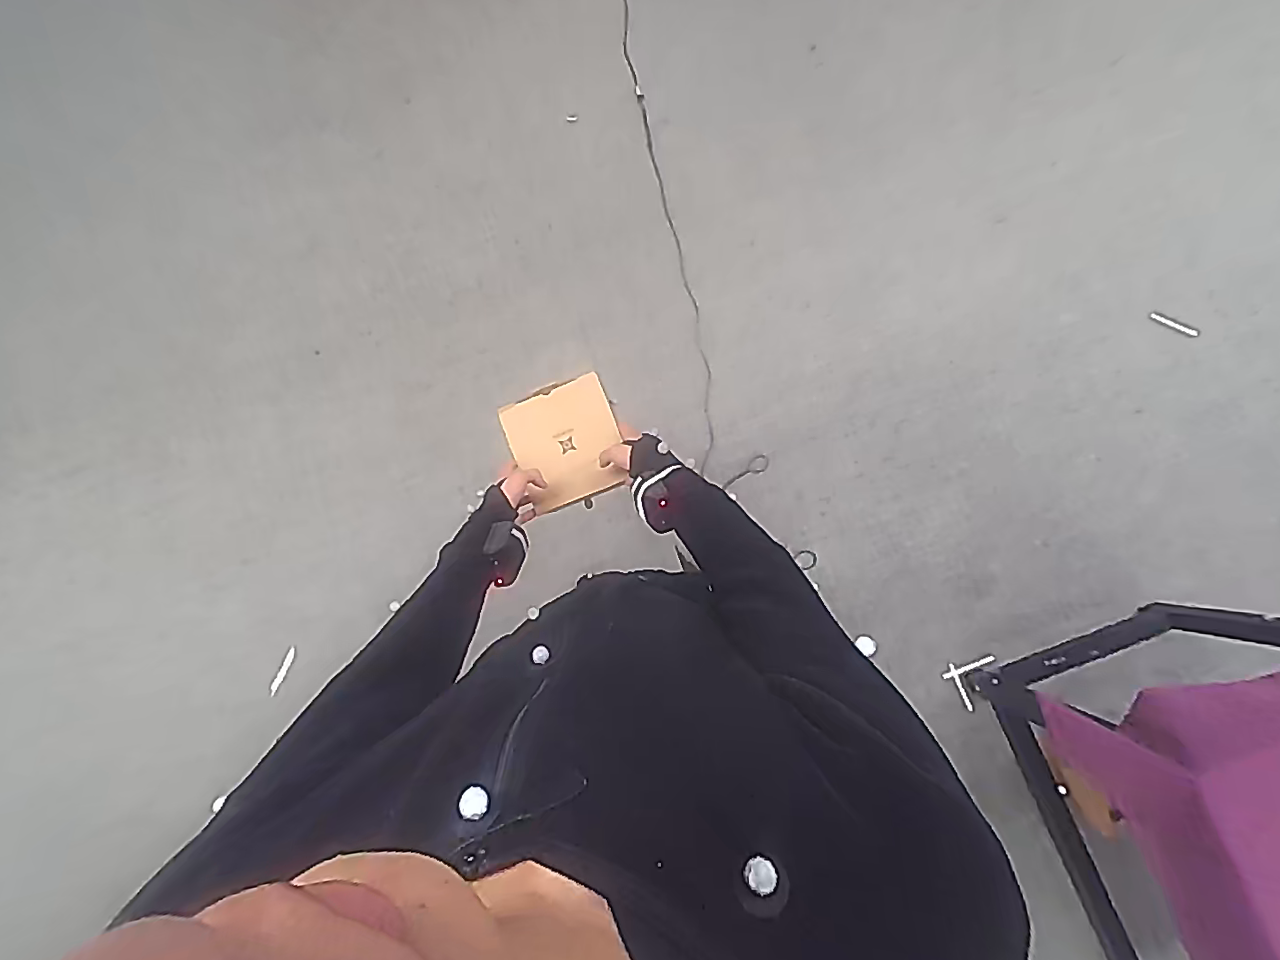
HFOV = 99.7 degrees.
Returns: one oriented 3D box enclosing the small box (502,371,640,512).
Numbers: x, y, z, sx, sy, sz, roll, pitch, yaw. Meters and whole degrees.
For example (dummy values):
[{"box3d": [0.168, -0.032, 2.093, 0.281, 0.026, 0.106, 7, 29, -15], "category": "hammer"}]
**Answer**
[{"box3d": [-0.105, -0.056, 0.899, 0.168, 0.176, 0.179, -21, 88, 1], "category": "small box"}]
